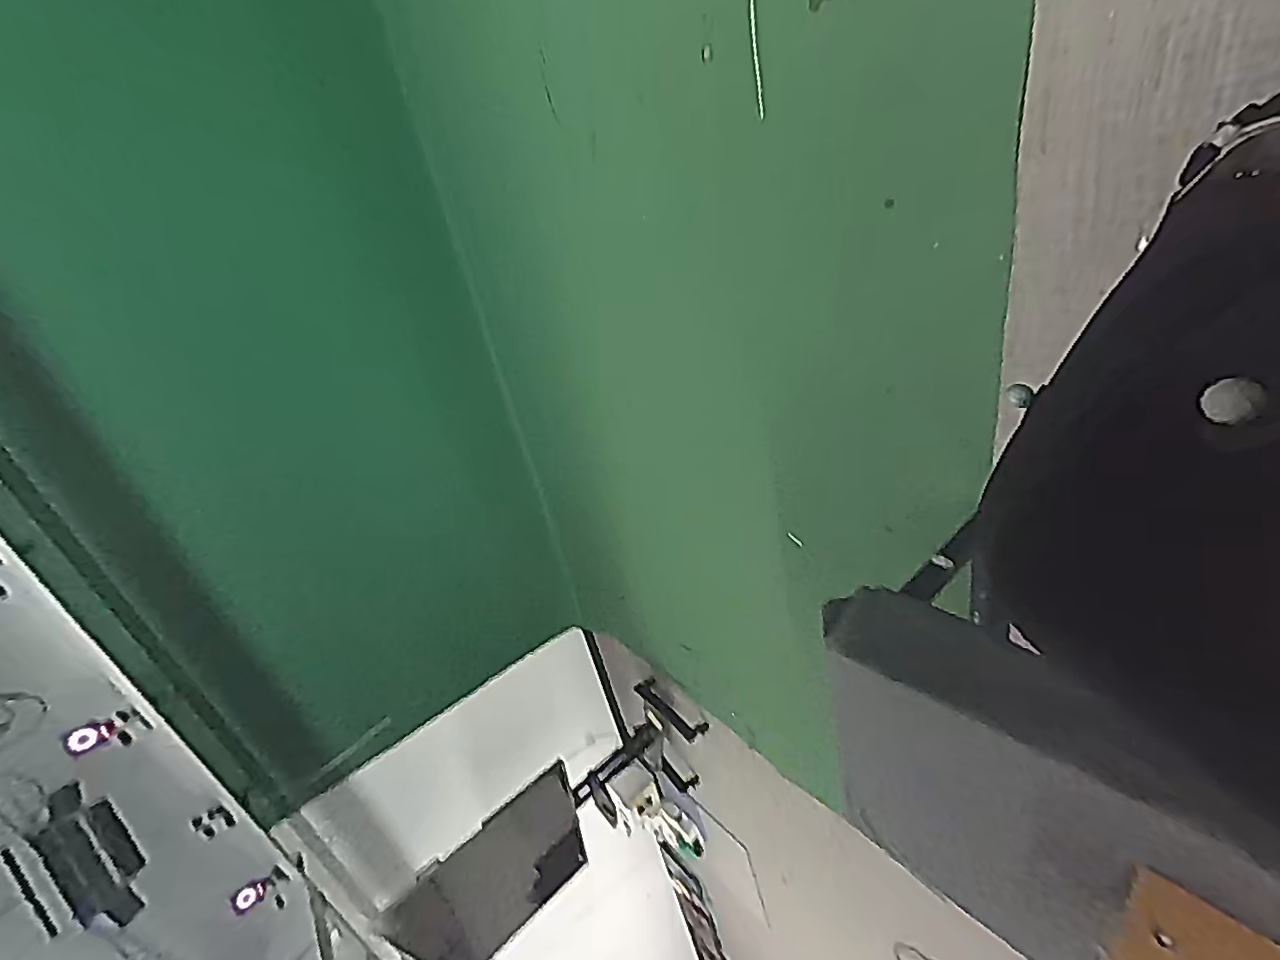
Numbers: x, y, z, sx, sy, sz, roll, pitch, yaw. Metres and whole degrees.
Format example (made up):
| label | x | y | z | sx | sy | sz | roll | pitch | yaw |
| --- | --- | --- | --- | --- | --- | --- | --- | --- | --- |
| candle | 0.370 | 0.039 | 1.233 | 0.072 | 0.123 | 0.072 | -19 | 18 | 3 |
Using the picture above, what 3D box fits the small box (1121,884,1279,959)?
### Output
| label | x | y | z | sx | sy | sz | roll | pitch | yaw |
| --- | --- | --- | --- | --- | --- | --- | --- | --- | --- |
| small box | 0.771 | 0.694 | 0.723 | 0.179 | 0.176 | 0.168 | 17 | 131 | 50 |
